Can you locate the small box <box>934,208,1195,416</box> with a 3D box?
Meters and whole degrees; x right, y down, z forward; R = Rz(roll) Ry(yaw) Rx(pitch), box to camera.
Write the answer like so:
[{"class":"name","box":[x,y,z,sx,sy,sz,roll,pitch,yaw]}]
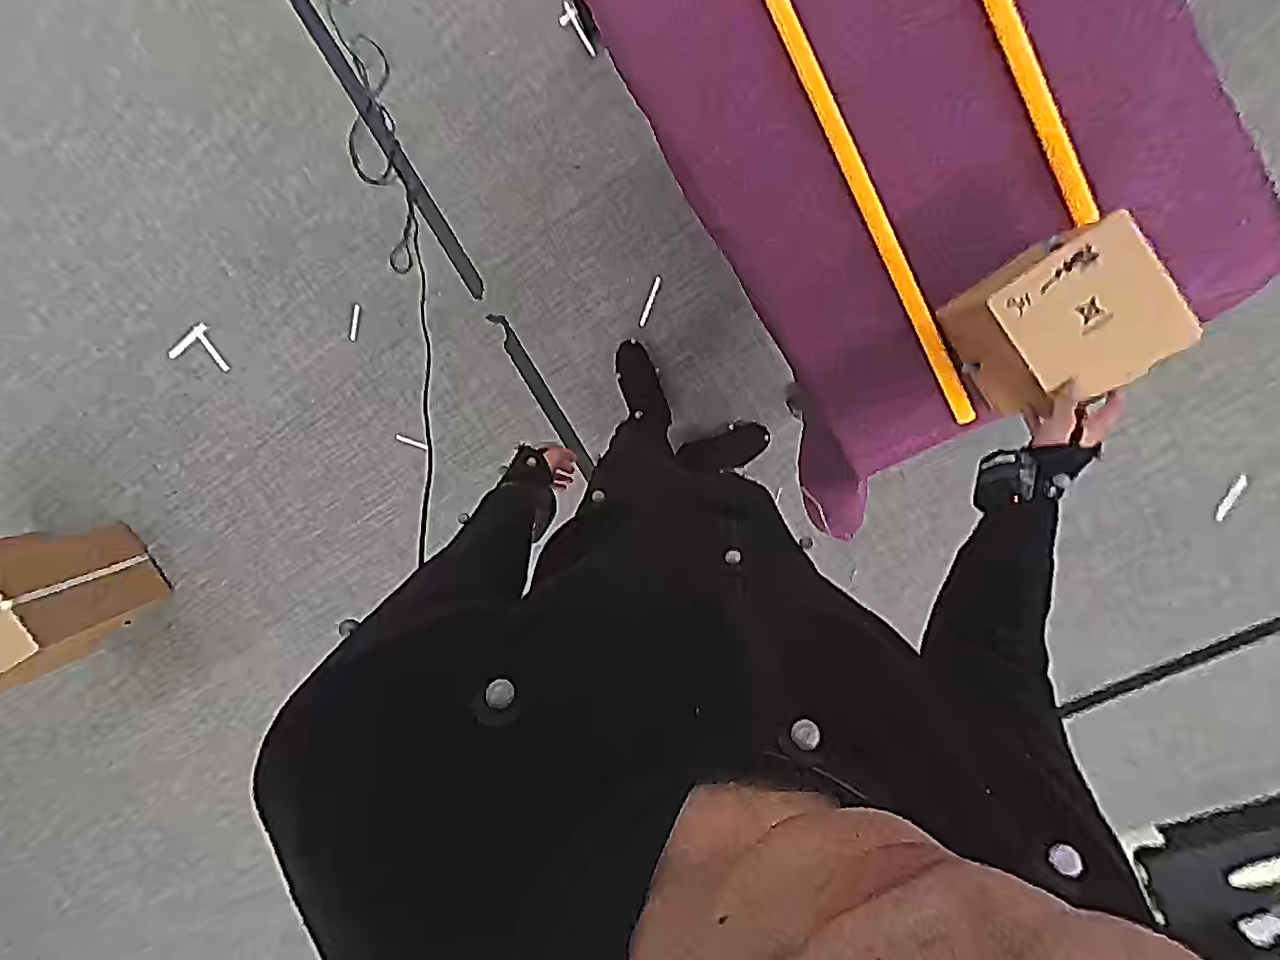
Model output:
[{"class":"small box","box":[0.524,-0.206,0.696,0.168,0.176,0.179,-34,96,13]}]
